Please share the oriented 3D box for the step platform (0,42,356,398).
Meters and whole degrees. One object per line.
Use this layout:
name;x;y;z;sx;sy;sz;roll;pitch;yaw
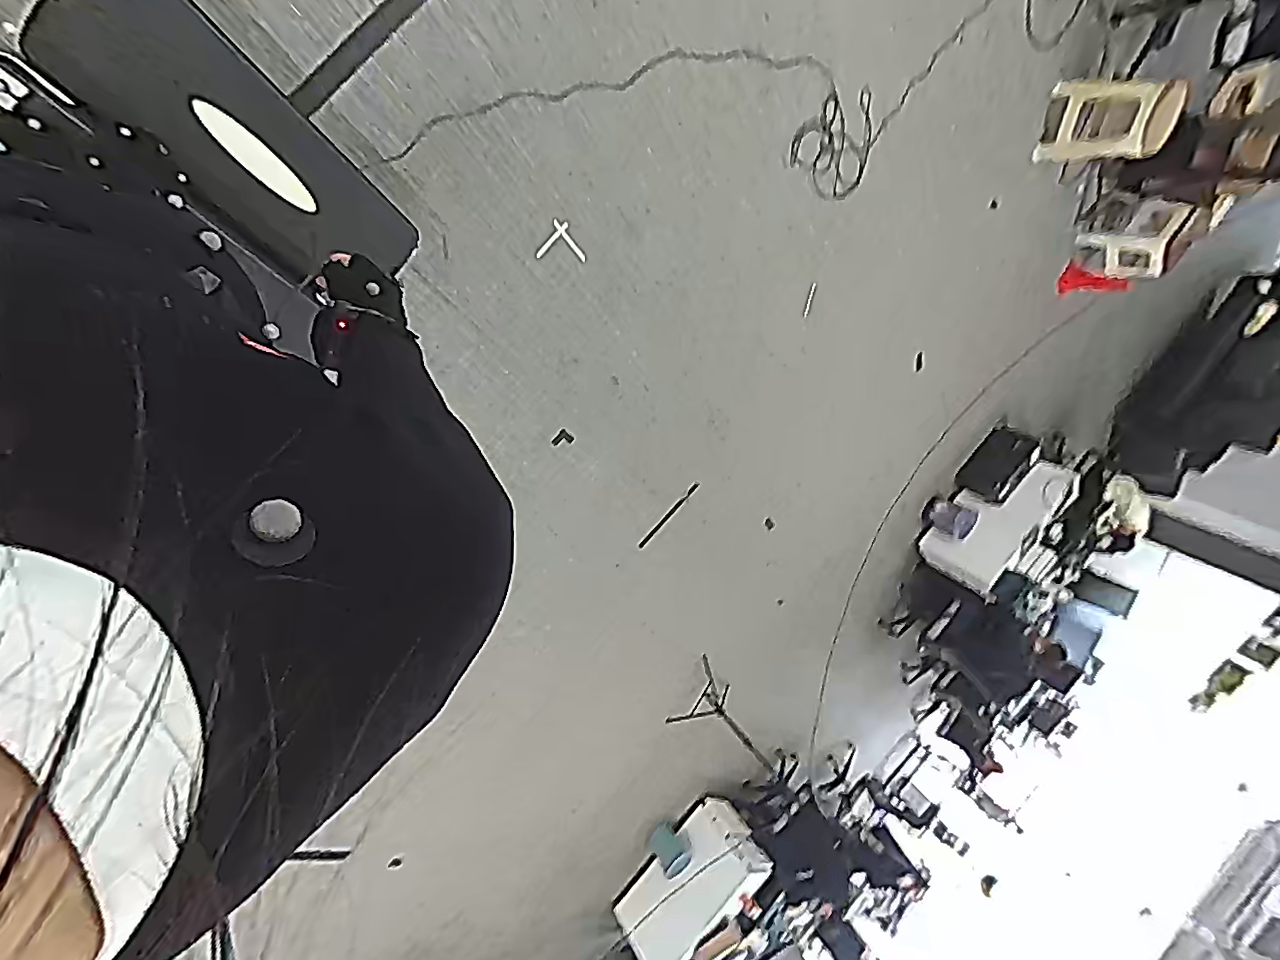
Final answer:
step platform;-0.962;-0.471;1.114;0.286;0.204;0.684;-50;134;-3
